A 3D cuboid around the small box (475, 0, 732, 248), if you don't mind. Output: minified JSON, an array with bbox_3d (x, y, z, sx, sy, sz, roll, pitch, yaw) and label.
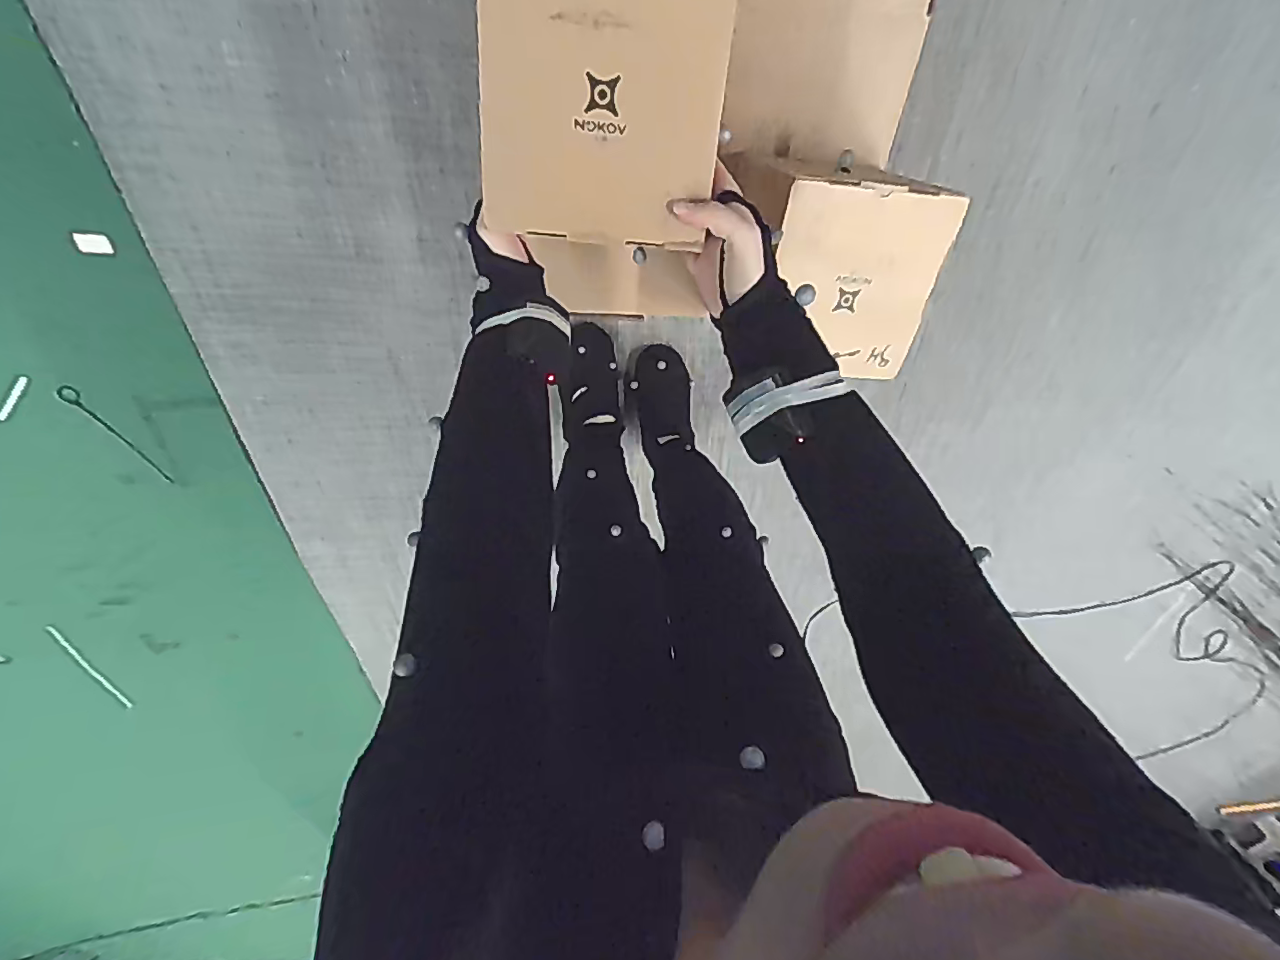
[{"bbox_3d":[-0.029,-0.293,0.438,0.168,0.176,0.179,4,114,-4],"label":"small box"}]

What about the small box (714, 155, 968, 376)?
[{"bbox_3d":[0.184,-0.226,0.561,0.168,0.176,0.179,1,125,-8],"label":"small box"}]
